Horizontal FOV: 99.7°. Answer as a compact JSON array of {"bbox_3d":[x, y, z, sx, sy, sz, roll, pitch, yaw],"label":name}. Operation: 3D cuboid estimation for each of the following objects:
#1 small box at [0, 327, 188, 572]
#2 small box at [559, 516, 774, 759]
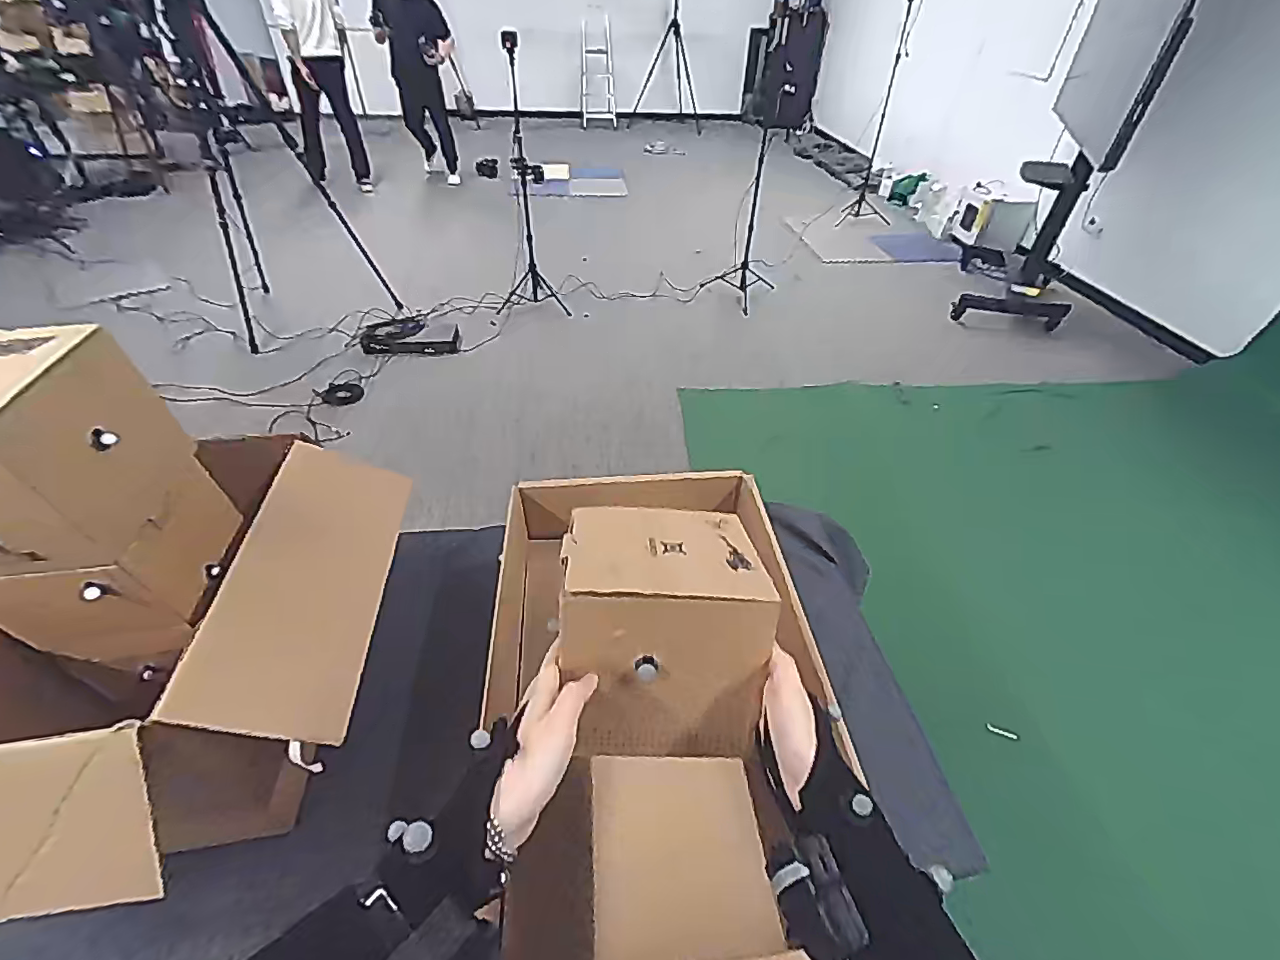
[{"bbox_3d":[-0.599,-0.029,0.528,0.168,0.176,0.179,-4,46,-4],"label":"small box"},{"bbox_3d":[0.015,0.147,0.529,0.179,0.176,0.168,3,21,-4],"label":"small box"}]
